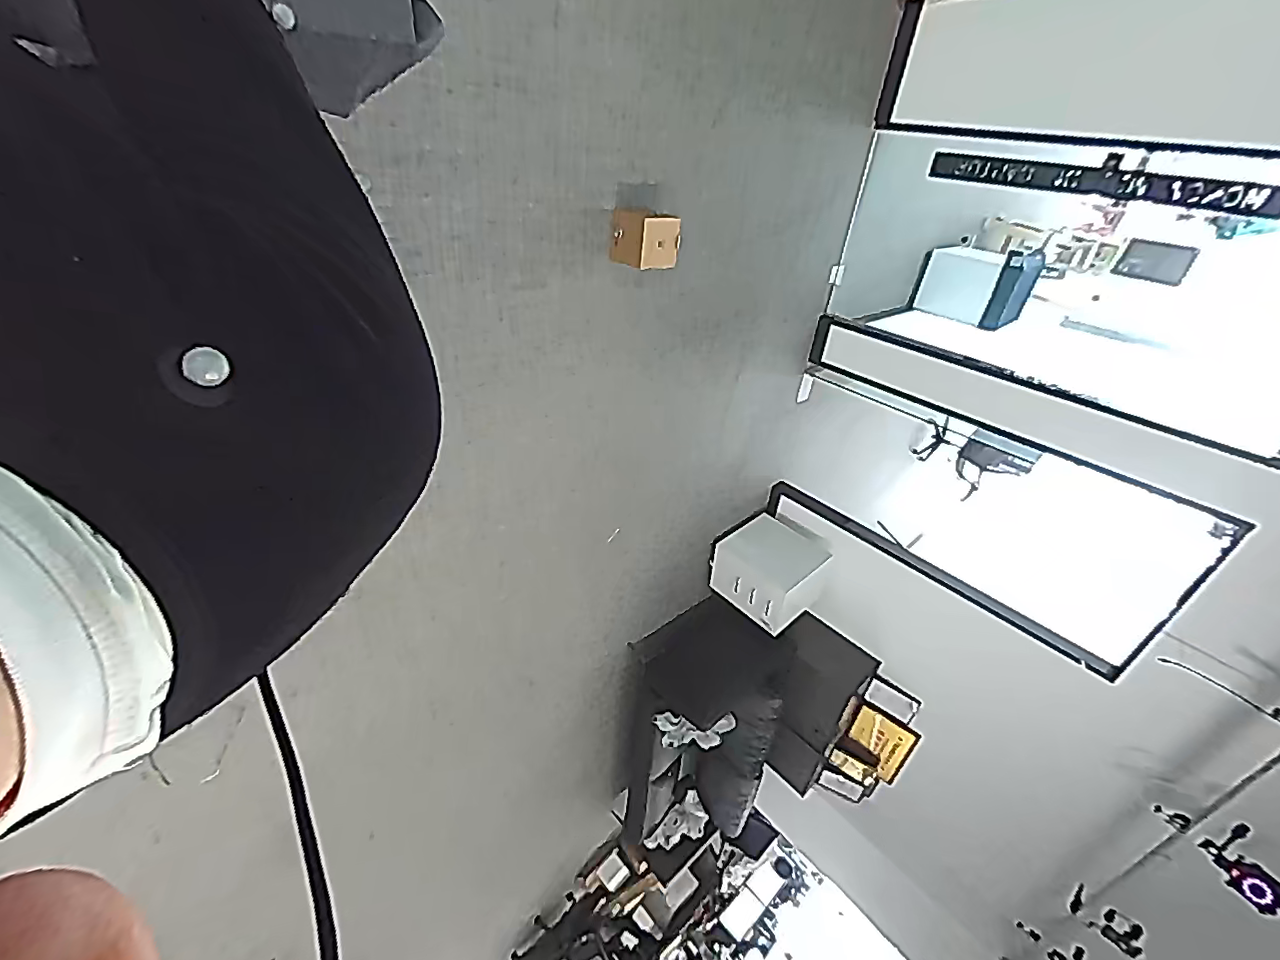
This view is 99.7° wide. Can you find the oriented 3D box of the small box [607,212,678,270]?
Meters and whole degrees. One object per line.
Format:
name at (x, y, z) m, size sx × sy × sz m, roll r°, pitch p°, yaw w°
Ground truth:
small box at (0.006, -0.842, 1.905) m, size 0.179 × 0.176 × 0.168 m, roll -20°, pitch 129°, yaw -39°
